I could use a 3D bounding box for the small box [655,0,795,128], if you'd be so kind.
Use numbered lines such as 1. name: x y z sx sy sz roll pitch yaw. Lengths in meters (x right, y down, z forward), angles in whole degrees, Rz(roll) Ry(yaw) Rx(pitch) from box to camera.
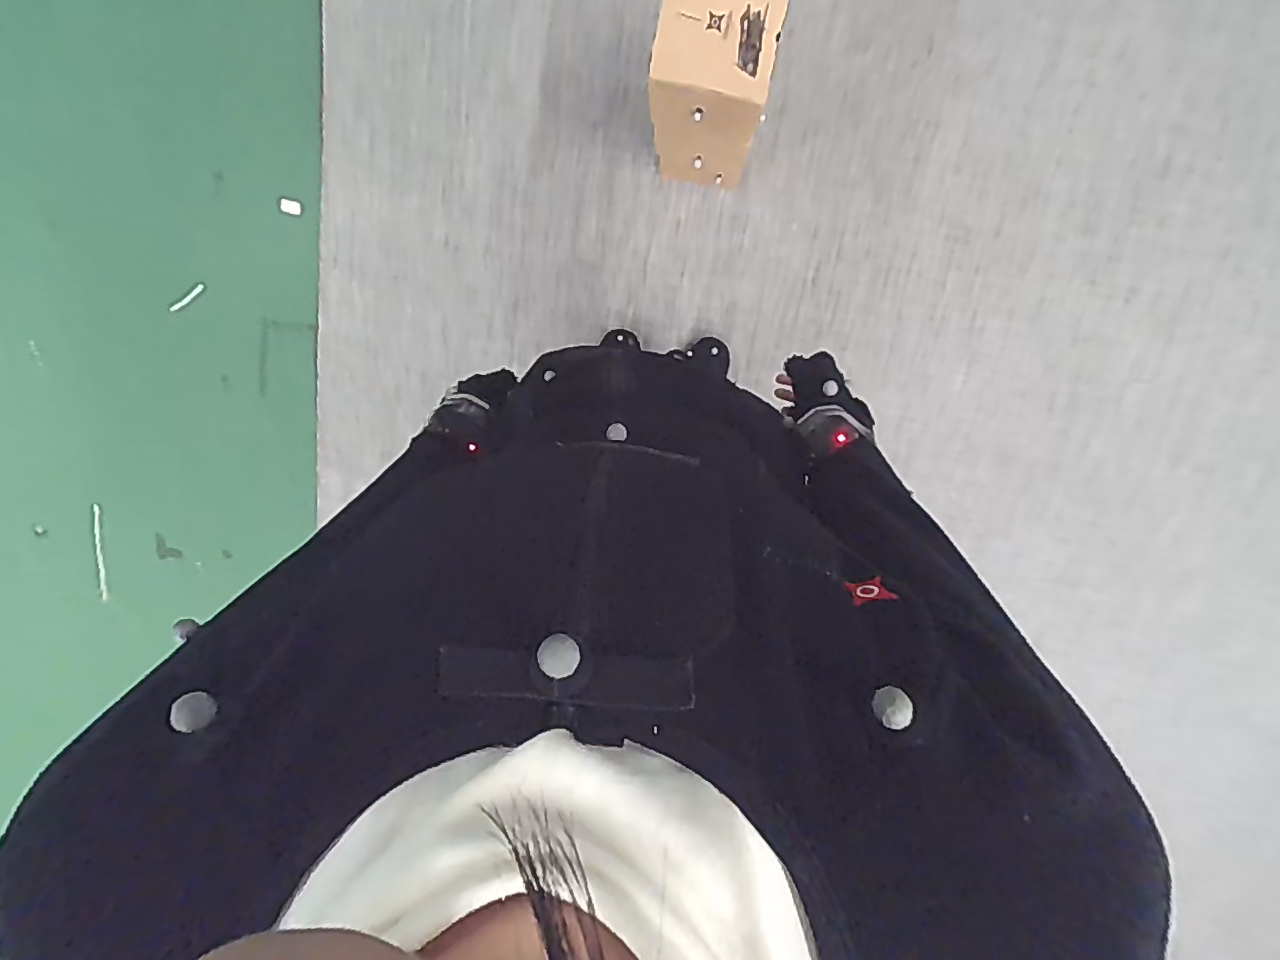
1. small box: 0.124 -0.665 0.827 0.179 0.176 0.168 10 107 0

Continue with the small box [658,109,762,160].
1. small box: 0.138 -0.708 0.985 0.179 0.176 0.168 15 107 -1

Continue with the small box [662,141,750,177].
1. small box: 0.151 -0.759 1.140 0.179 0.176 0.168 11 106 2
